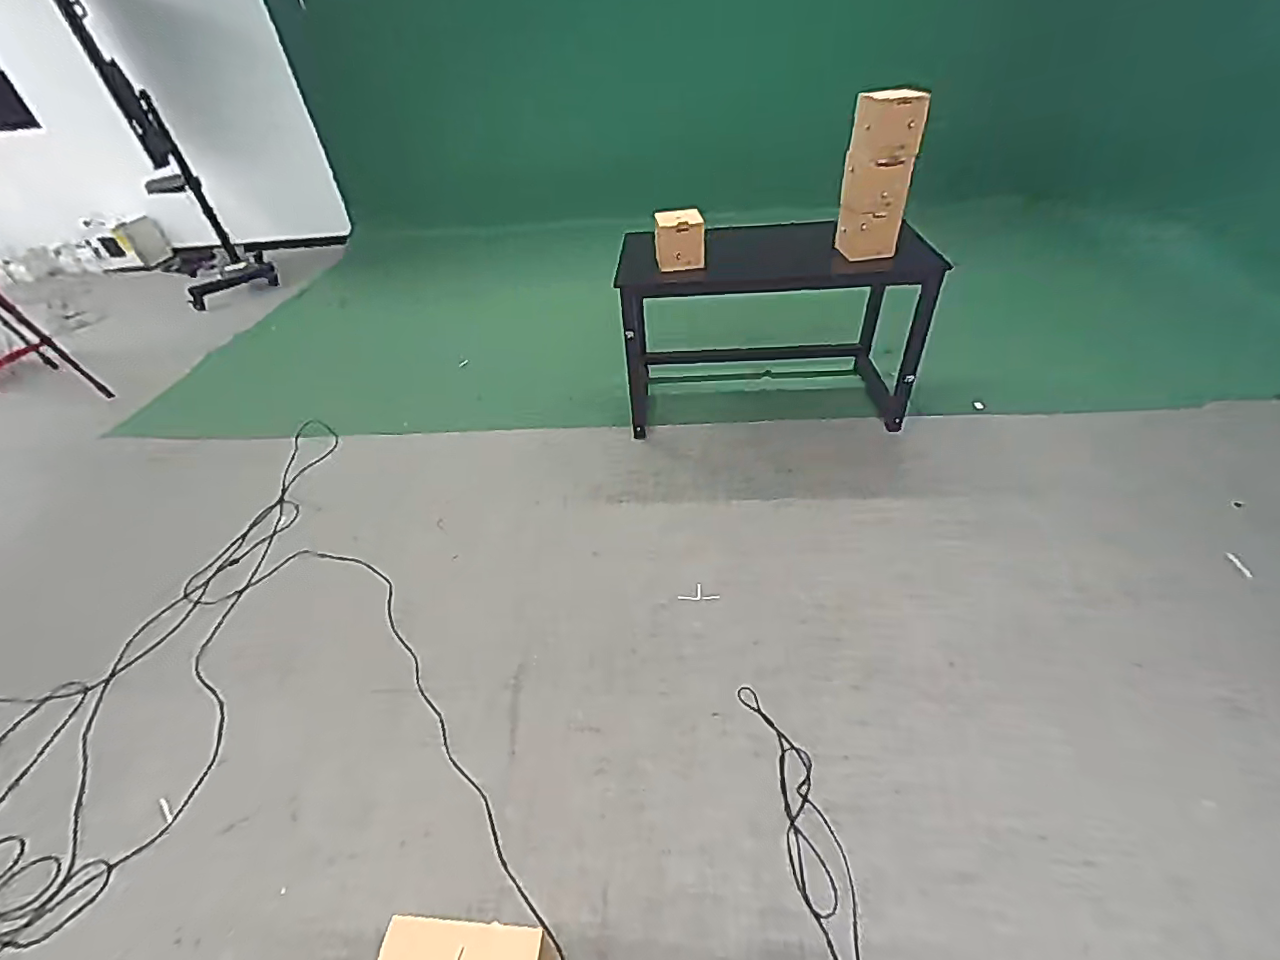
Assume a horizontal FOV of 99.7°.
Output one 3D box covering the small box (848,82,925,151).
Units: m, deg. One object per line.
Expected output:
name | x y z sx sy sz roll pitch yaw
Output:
small box | 0.809 -1.202 1.792 0.168 0.176 0.179 -7 40 -1

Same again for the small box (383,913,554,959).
small box | -0.186 0.588 0.567 0.168 0.176 0.179 4 41 2

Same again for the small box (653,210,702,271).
small box | 0.140 -0.921 2.077 0.168 0.176 0.179 -7 42 -2

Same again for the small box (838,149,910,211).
small box | 0.817 -1.066 1.909 0.168 0.176 0.179 -7 41 0
